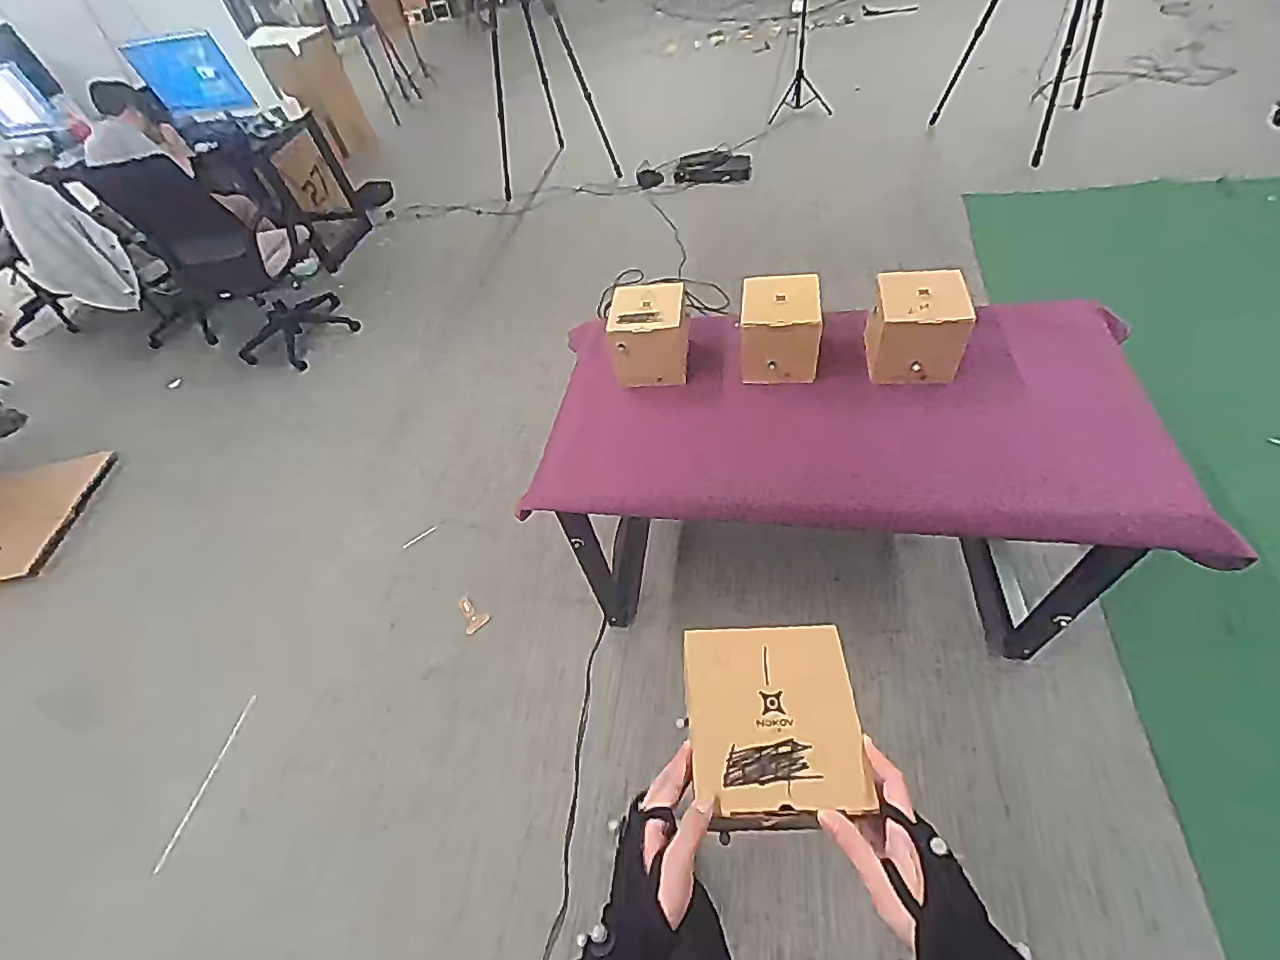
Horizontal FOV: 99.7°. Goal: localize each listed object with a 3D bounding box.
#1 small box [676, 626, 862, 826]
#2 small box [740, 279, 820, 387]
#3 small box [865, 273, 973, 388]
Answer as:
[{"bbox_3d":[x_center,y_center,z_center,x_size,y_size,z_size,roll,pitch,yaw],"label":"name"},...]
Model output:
[{"bbox_3d":[0.128,0.279,0.603,0.168,0.176,0.179,-3,52,3],"label":"small box"},{"bbox_3d":[0.316,-0.333,1.237,0.168,0.176,0.179,1,54,13],"label":"small box"},{"bbox_3d":[0.589,-0.321,1.166,0.168,0.176,0.179,2,53,14],"label":"small box"}]
